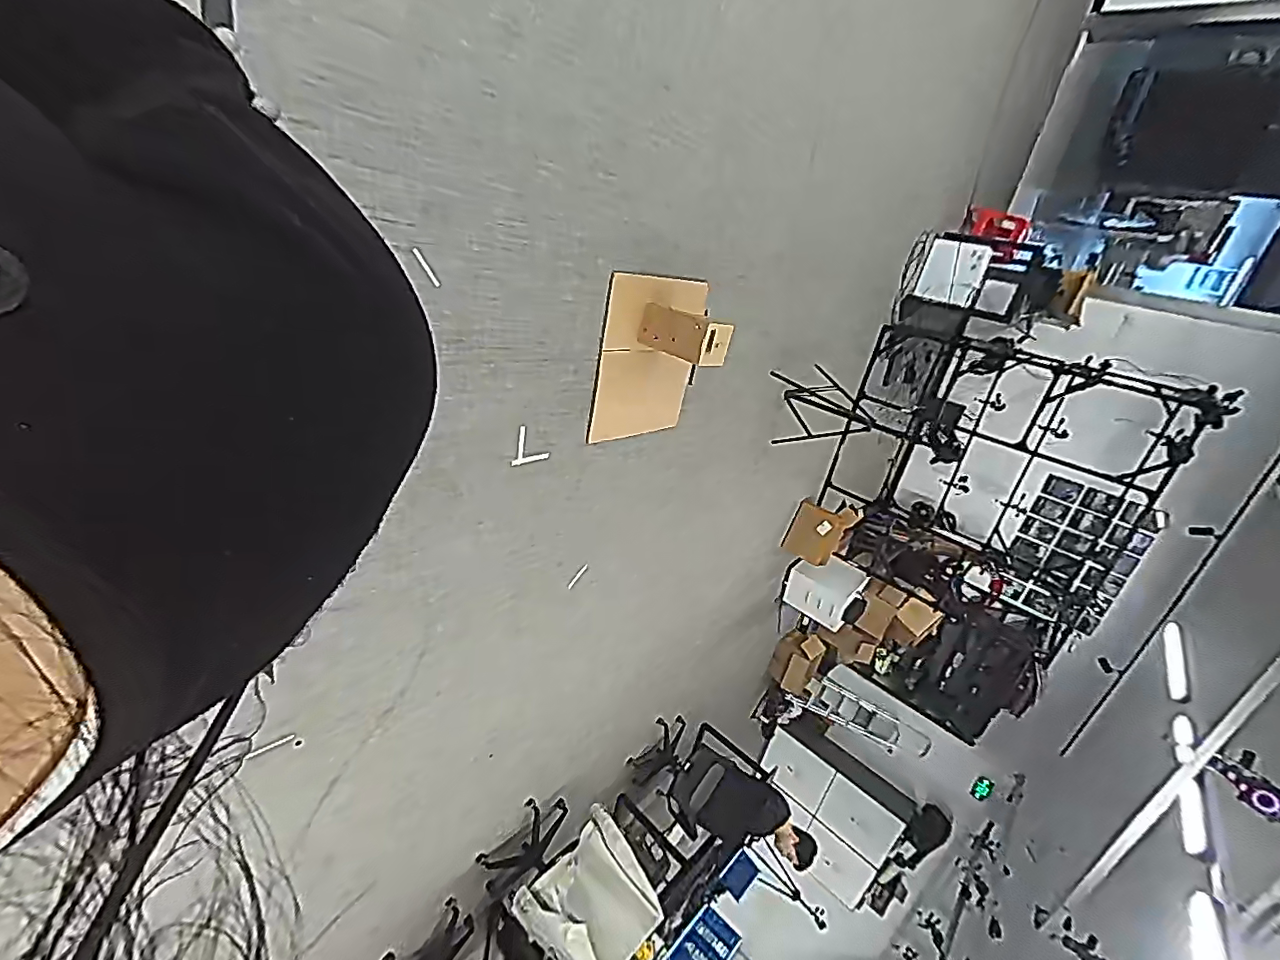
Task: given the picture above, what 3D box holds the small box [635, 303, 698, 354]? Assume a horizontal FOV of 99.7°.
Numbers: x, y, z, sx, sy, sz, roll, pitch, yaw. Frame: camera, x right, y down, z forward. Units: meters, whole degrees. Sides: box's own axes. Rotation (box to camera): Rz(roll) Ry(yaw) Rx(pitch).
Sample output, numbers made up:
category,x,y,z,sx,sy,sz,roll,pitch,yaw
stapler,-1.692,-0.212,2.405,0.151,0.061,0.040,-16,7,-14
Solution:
category,x,y,z,sx,sy,sz,roll,pitch,yaw
small box,0.106,-0.627,2.233,0.179,0.176,0.168,-12,125,-49
